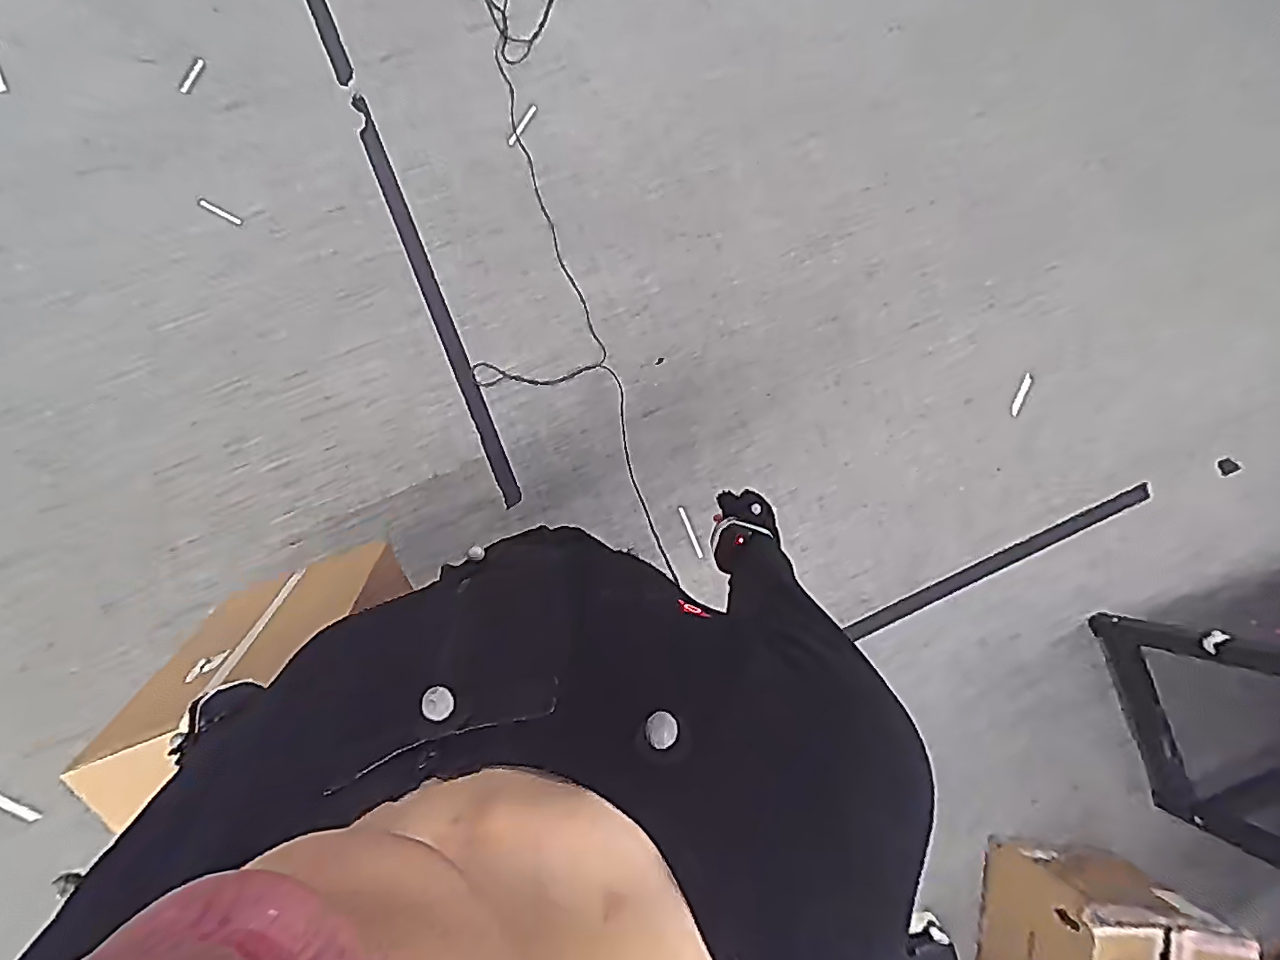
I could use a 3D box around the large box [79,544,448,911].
[{"bbox_3d":[-0.542,0.367,0.903,0.320,0.408,0.320,-22,112,-6],"label":"large box"}]
